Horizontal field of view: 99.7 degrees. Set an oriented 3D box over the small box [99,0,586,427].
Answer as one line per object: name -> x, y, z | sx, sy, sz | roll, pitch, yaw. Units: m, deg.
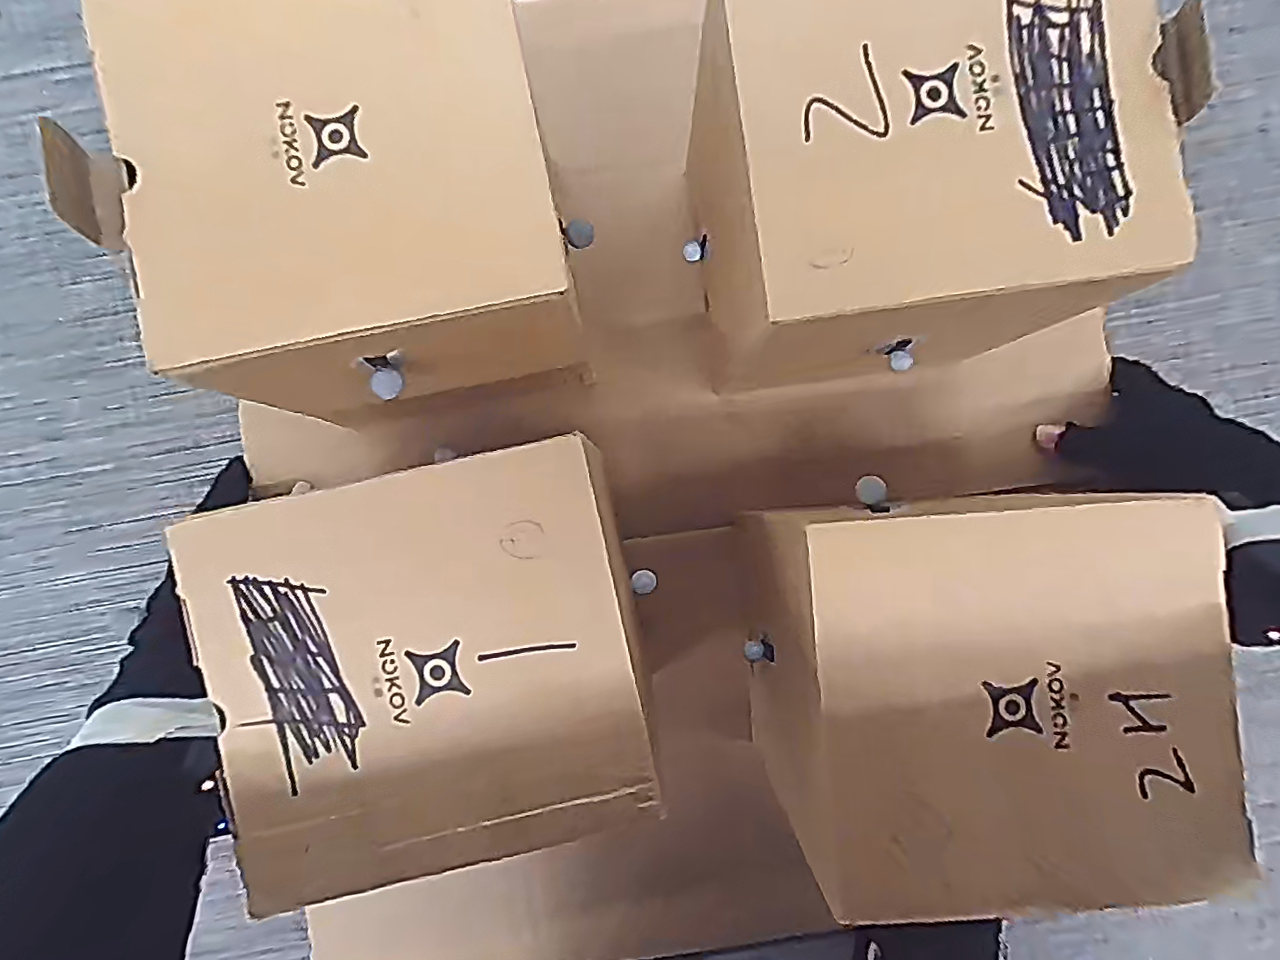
small box -> -0.131, -0.134, 0.310 | 0.179, 0.176, 0.168 | -12, 88, 0
